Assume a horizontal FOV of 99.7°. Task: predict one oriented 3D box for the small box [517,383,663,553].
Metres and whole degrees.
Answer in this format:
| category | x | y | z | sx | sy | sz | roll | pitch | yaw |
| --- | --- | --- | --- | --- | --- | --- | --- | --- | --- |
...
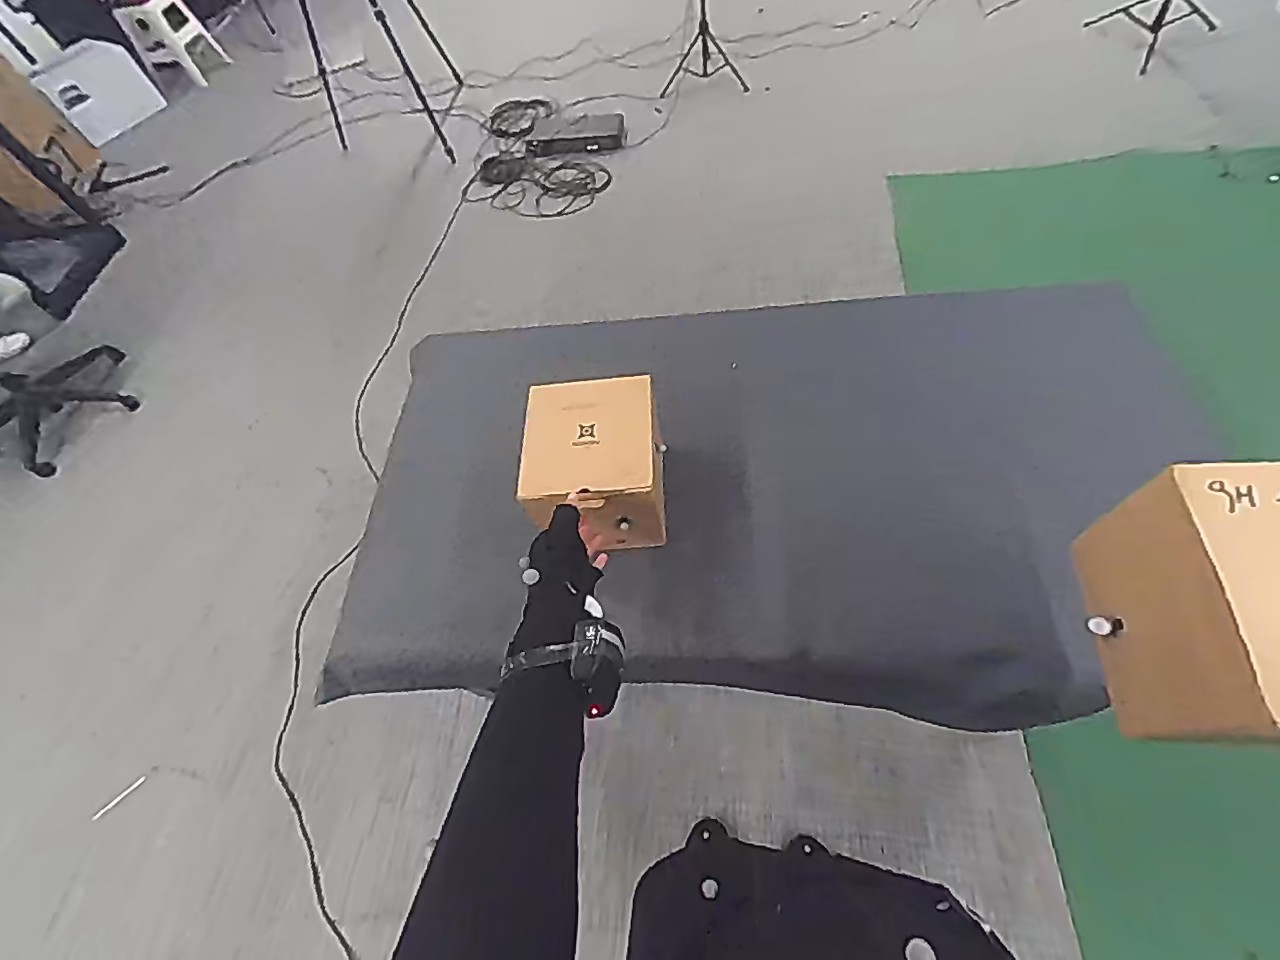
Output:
| category | x | y | z | sx | sy | sz | roll | pitch | yaw |
| --- | --- | --- | --- | --- | --- | --- | --- | --- | --- |
| small box | -0.058 | -0.007 | 0.743 | 0.168 | 0.176 | 0.179 | -4 | 57 | 4 |
